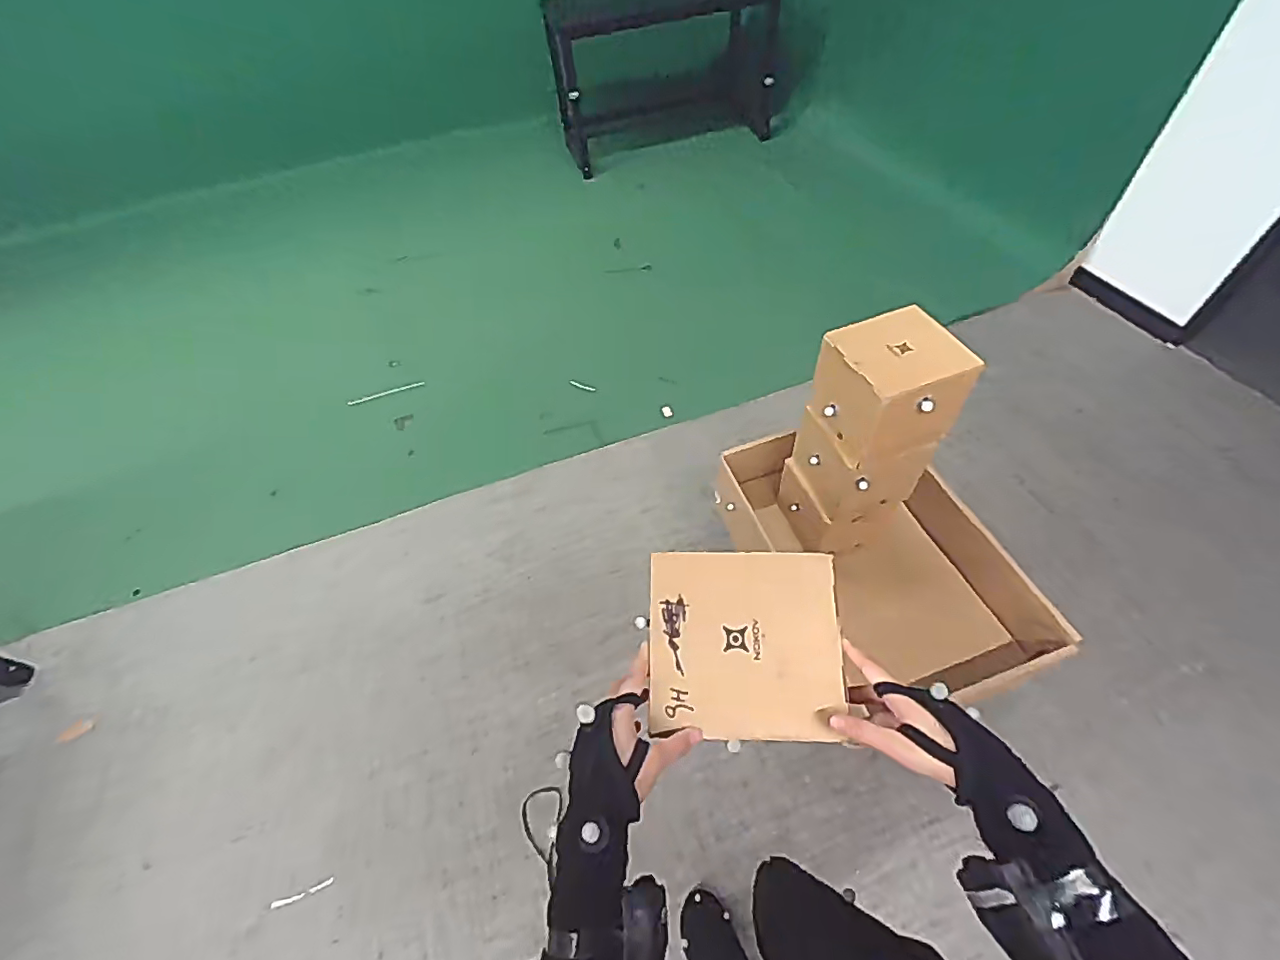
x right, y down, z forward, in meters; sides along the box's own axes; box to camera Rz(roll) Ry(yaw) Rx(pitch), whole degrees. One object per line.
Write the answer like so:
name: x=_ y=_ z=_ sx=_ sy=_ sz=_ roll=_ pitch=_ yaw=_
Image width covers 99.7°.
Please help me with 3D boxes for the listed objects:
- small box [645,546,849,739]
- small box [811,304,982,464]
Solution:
small box: x=0.096 y=0.172 z=0.564 sx=0.179 sy=0.176 sz=0.168 roll=1 pitch=66 yaw=3
small box: x=0.409 y=-0.157 z=0.900 sx=0.179 sy=0.176 sz=0.168 roll=-20 pitch=53 yaw=-8
